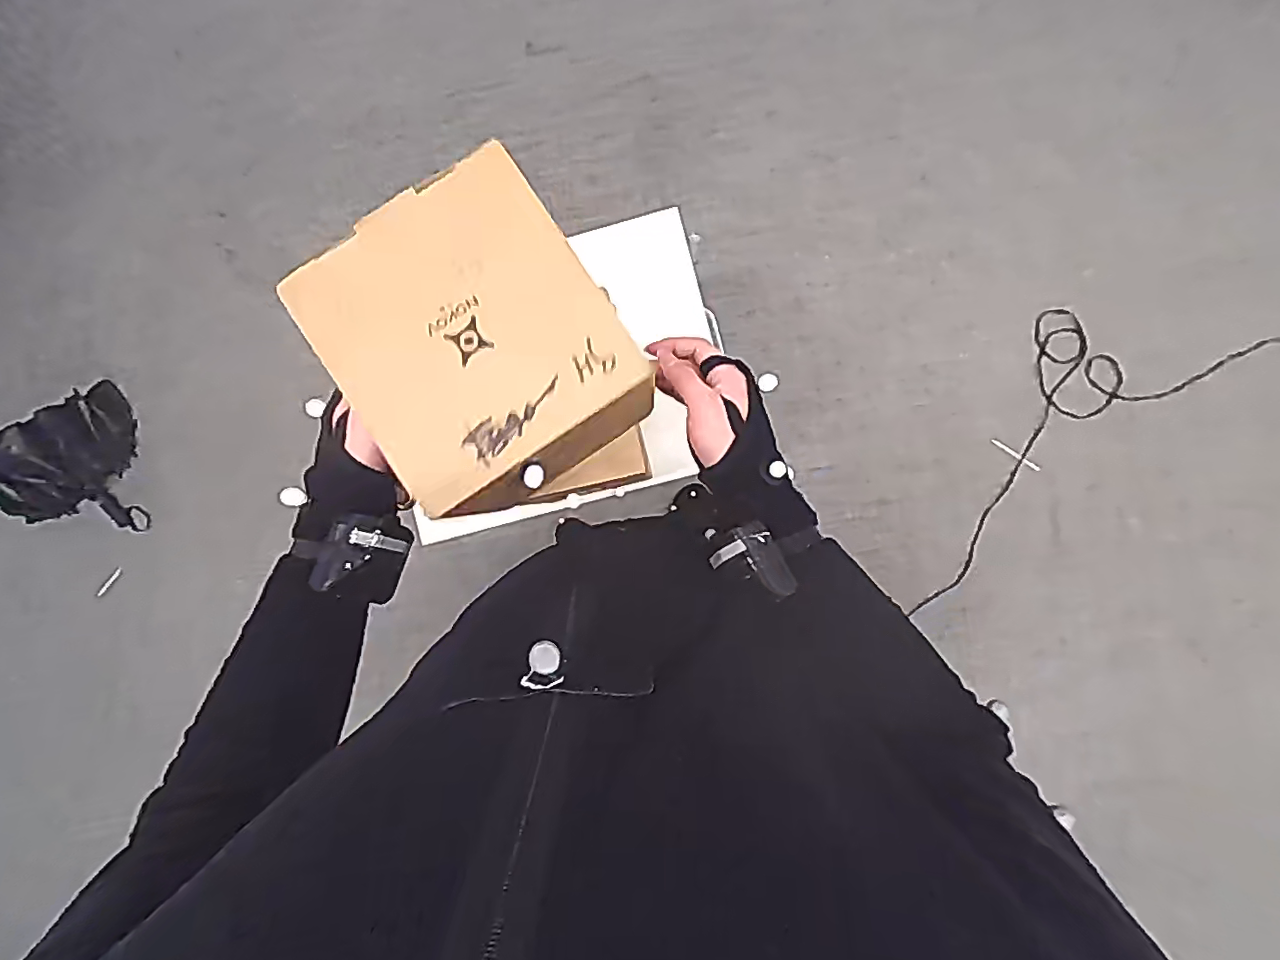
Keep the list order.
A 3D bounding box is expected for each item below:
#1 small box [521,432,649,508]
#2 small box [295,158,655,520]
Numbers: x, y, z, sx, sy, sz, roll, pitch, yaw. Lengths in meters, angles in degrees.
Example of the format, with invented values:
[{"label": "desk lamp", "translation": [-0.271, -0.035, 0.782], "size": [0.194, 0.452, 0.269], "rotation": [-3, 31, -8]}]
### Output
[{"label": "small box", "translation": [-0.084, -0.065, 0.741], "size": [0.168, 0.176, 0.179], "rotation": [-13, 88, 1]}, {"label": "small box", "translation": [-0.102, -0.086, 0.414], "size": [0.168, 0.176, 0.179], "rotation": [-32, 88, 2]}]
